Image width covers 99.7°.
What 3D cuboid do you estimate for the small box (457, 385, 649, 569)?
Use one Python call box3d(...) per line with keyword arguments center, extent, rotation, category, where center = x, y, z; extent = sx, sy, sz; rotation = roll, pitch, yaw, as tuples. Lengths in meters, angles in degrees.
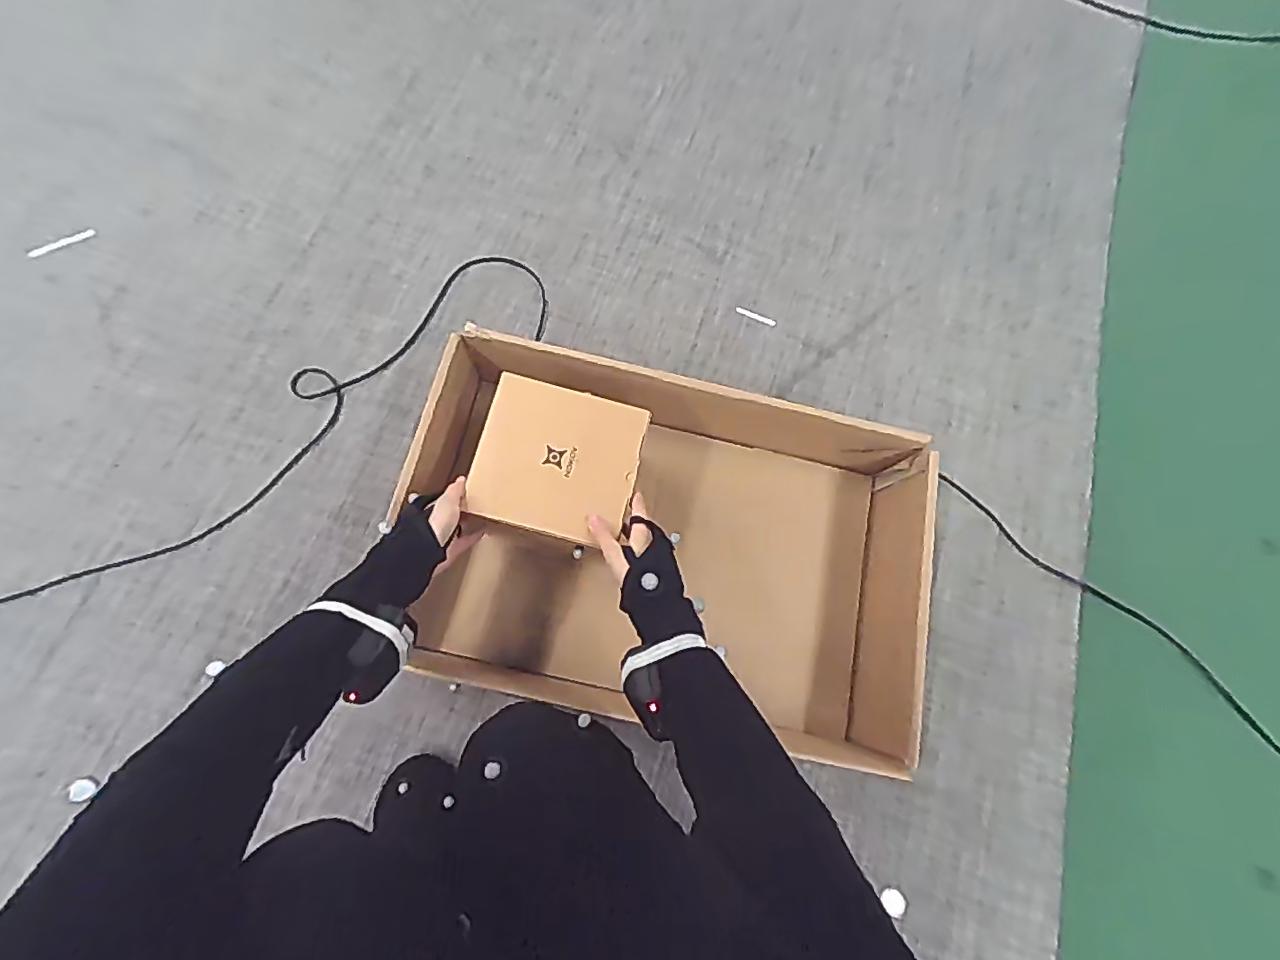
box3d(center=(-0.101, 0.008, 0.671), extent=(0.179, 0.176, 0.168), rotation=(15, 75, -4), category="small box")
